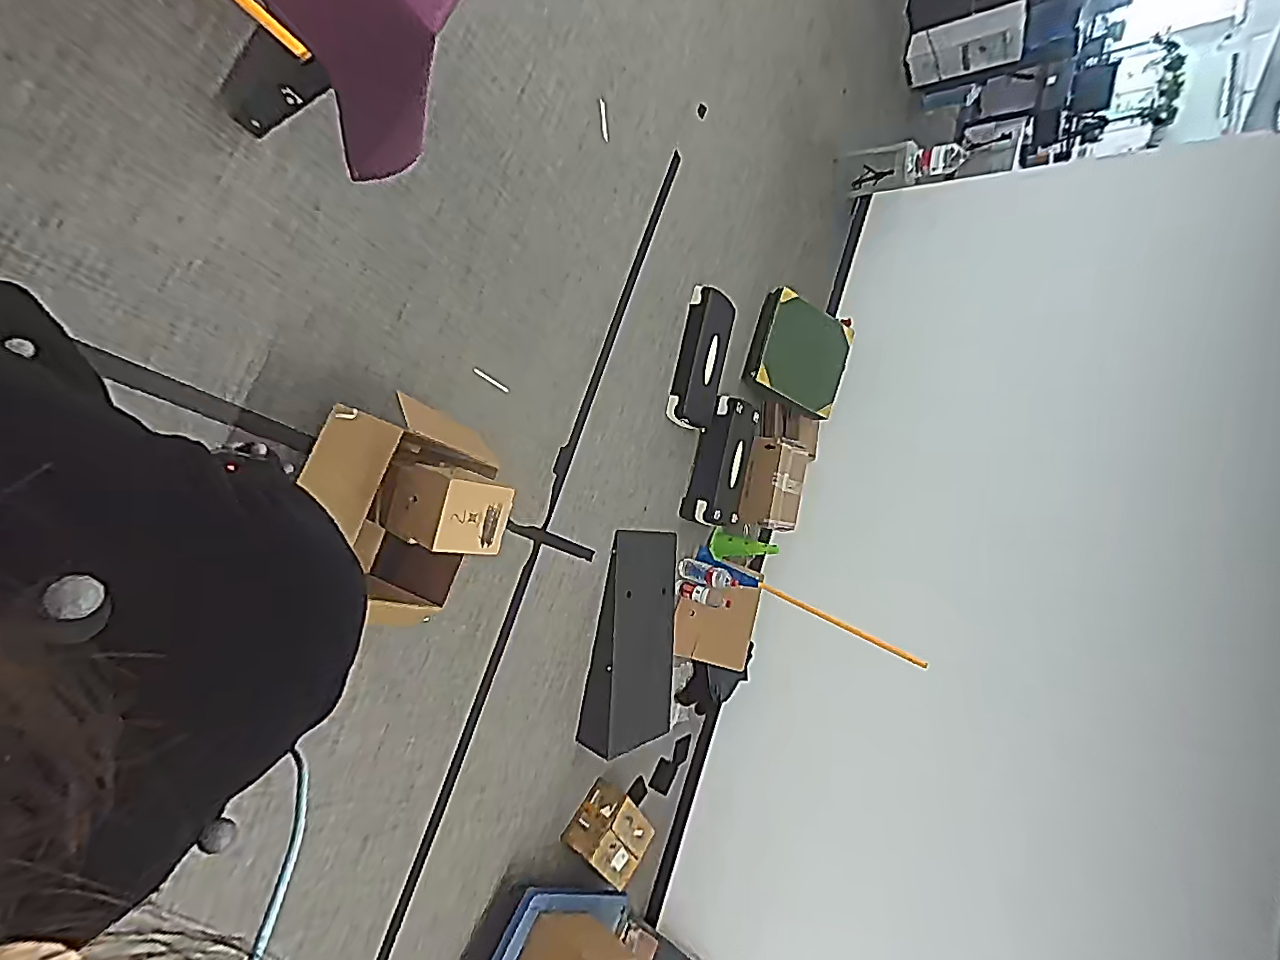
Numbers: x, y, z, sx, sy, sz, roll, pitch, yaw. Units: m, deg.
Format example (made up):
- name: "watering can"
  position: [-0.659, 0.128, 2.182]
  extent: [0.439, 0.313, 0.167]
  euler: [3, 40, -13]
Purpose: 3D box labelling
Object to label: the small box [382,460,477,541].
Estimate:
- name: "small box"
  position: [-0.545, 0.046, 1.391]
  extent: [0.168, 0.176, 0.179]
  euler: [-2, 104, -50]
